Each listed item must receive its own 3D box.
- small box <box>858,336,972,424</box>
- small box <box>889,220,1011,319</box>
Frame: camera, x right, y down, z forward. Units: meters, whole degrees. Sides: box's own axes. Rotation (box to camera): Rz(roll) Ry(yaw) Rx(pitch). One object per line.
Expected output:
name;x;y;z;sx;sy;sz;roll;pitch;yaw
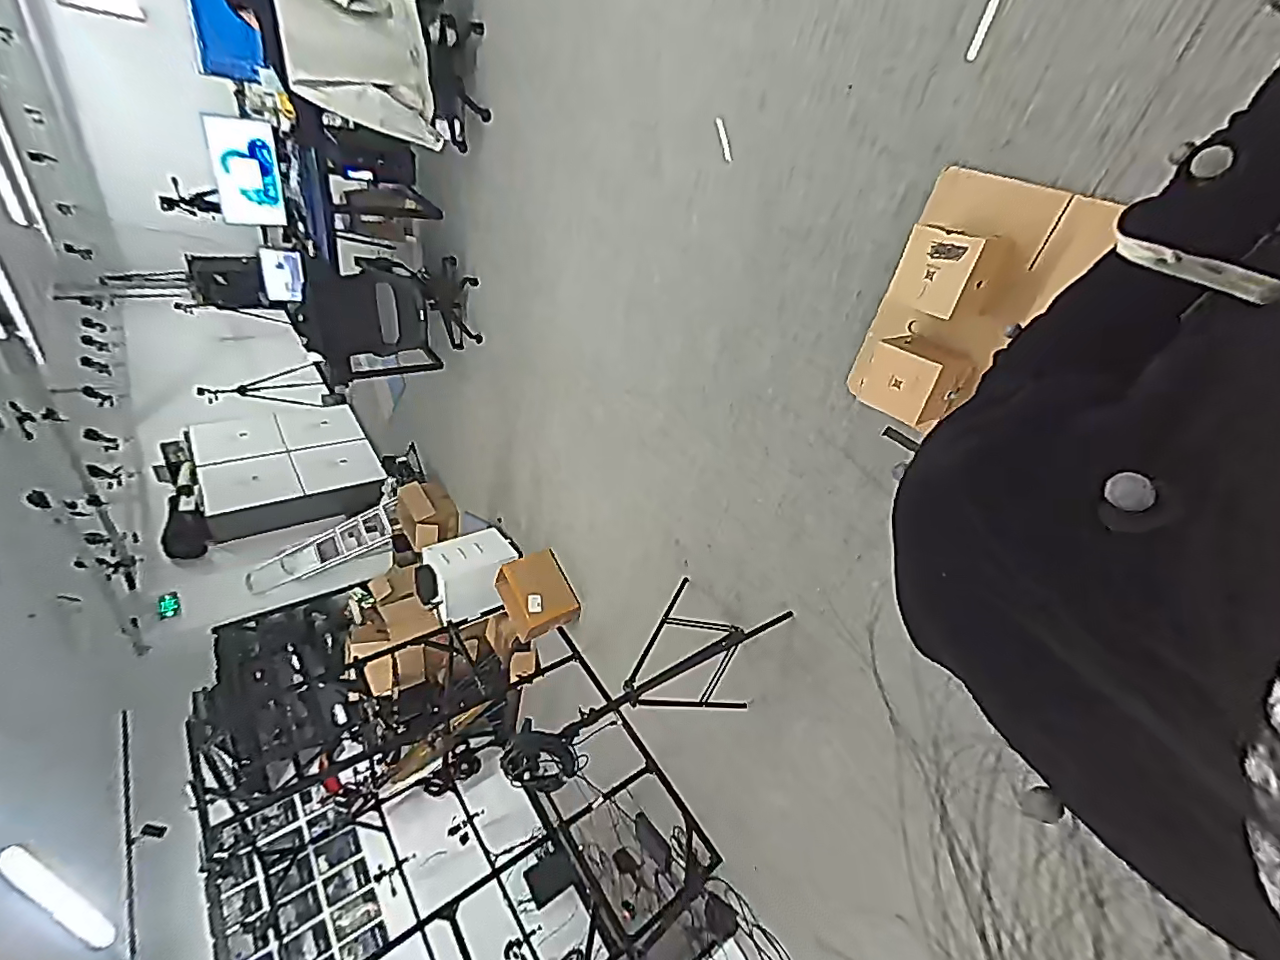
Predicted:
small box;0.704;-0.265;1.388;0.179;0.176;0.168;38;133;38
small box;0.727;-0.493;1.263;0.168;0.176;0.179;40;133;38
